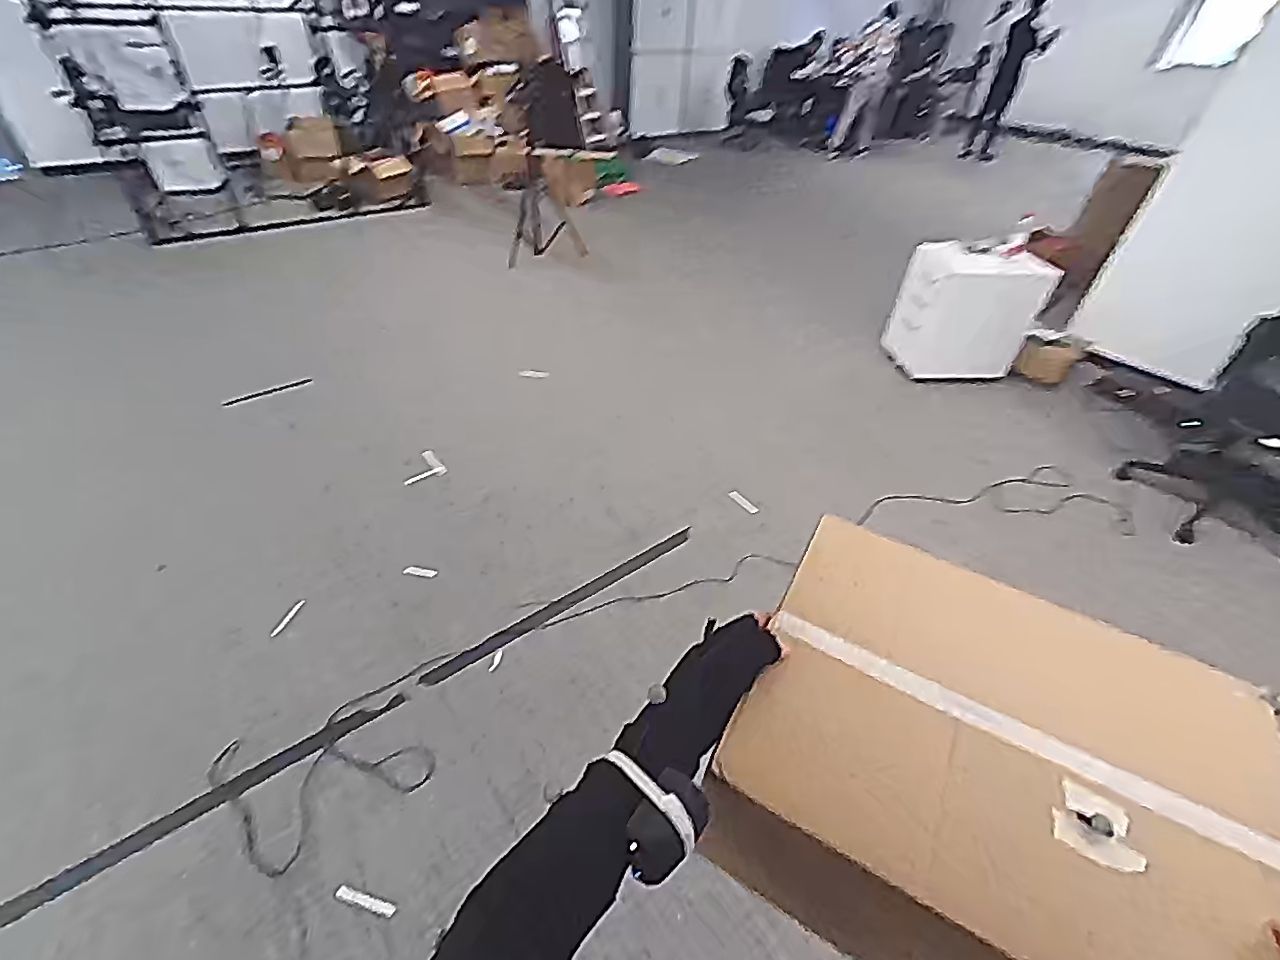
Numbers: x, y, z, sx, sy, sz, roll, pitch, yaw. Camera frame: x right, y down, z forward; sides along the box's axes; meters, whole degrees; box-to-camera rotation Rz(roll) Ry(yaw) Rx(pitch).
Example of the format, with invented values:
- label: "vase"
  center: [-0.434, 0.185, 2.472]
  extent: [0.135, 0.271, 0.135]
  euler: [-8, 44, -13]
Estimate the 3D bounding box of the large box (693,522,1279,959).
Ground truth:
- label: "large box"
  center: [0.308, 0.314, 0.580]
  extent: [0.408, 0.320, 0.320]
  euler: [23, 52, 20]
